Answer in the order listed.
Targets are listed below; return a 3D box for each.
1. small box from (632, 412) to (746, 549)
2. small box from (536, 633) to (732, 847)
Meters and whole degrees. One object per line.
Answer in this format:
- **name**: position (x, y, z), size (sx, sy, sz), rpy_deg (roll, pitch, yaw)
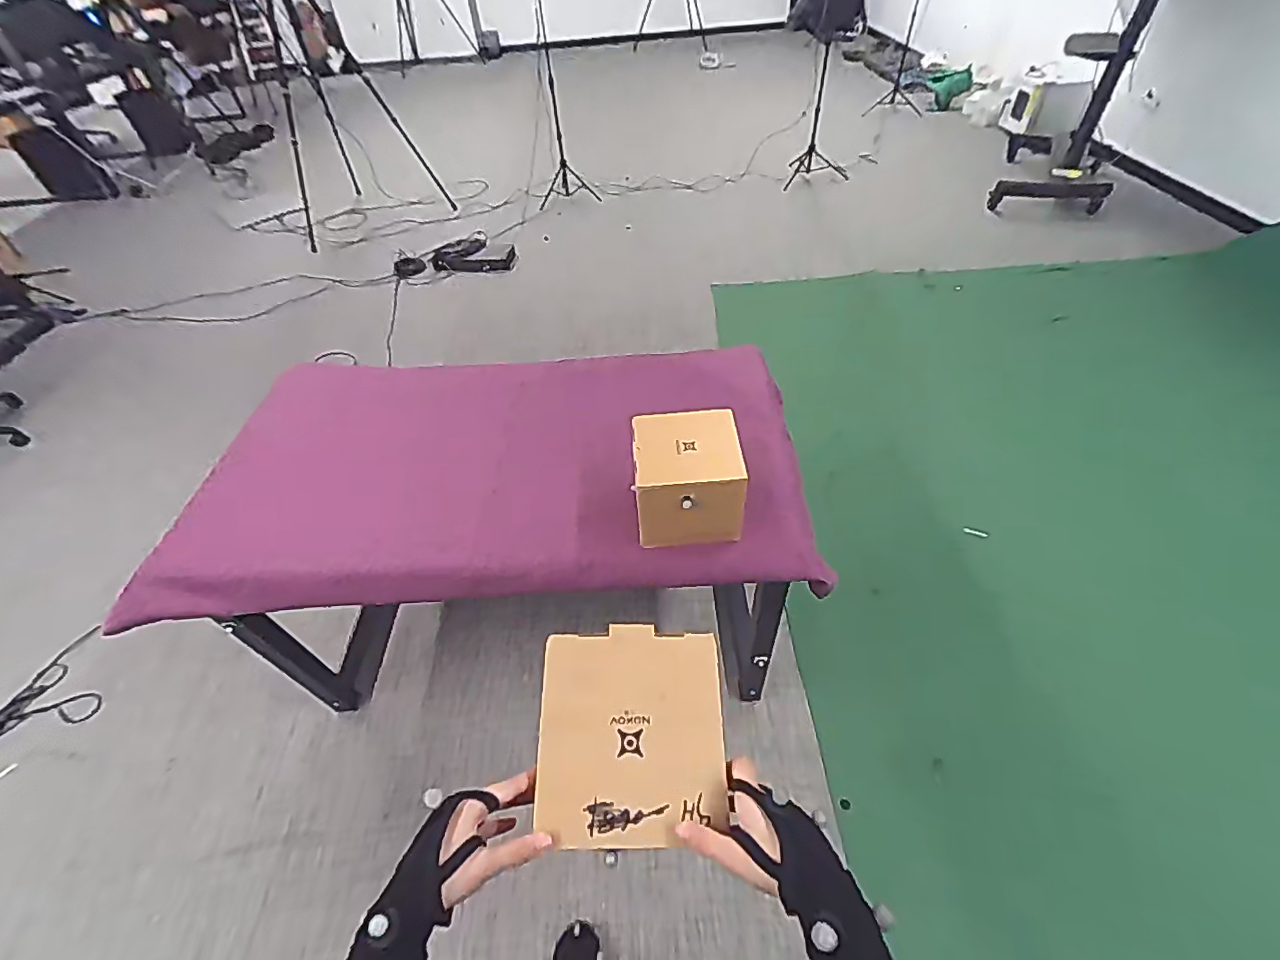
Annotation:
- **small box**: position (0.082, 0.005, 0.948), size (0.179, 0.176, 0.168), rpy_deg (-6, 49, 2)
- **small box**: position (-0.004, 0.267, 0.557), size (0.168, 0.176, 0.179), rpy_deg (-1, 61, 1)
